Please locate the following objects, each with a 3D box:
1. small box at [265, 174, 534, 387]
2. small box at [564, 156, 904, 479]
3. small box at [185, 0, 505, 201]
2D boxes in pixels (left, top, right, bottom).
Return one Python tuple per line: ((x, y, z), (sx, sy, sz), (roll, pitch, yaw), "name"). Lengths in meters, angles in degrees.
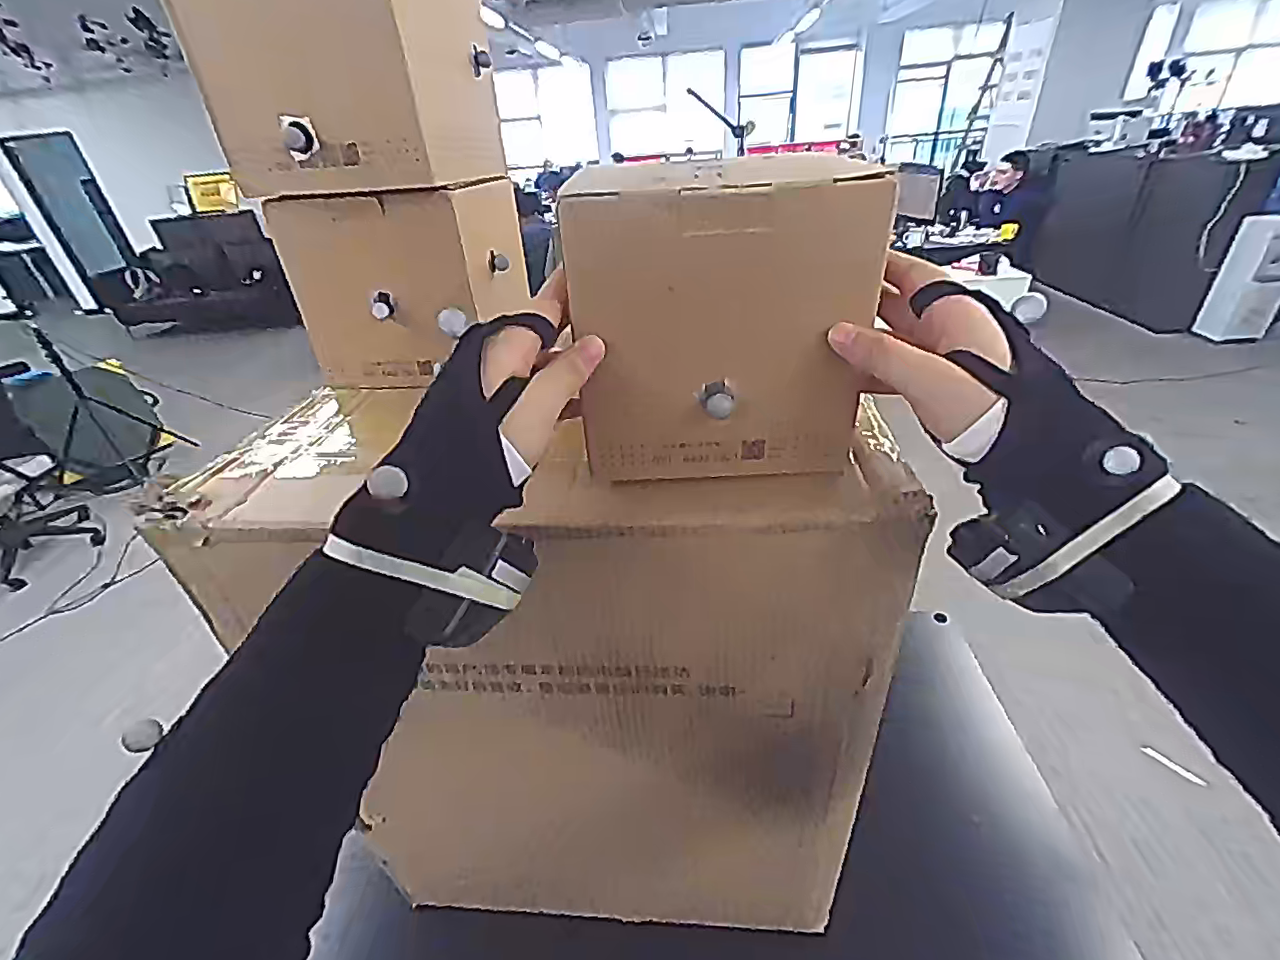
((-0.213, -0.200, 0.543), (0.168, 0.176, 0.179), (0, 33, 5), "small box")
((0.050, -0.116, 0.371), (0.168, 0.176, 0.179), (-3, 34, 3), "small box")
((-0.222, -0.330, 0.443), (0.168, 0.176, 0.179), (0, 33, 8), "small box")
